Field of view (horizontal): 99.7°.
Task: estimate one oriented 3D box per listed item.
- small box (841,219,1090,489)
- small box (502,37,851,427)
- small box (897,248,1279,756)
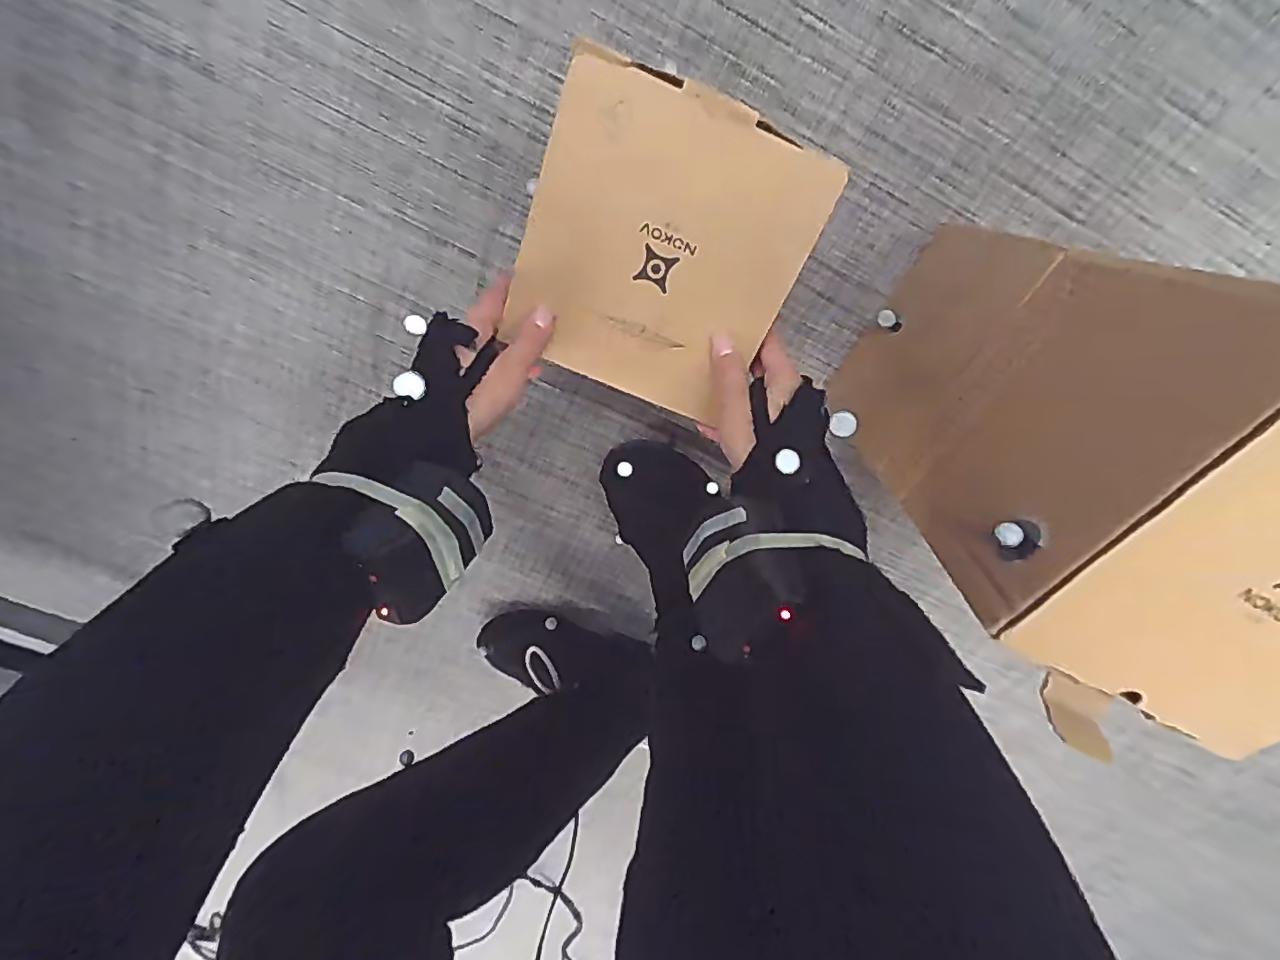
[{"bbox_3d":[0.285,-0.080,0.430,0.168,0.176,0.179,25,120,-10],"label":"small box"},{"bbox_3d":[0.017,-0.172,0.398,0.168,0.176,0.179,20,120,-7],"label":"small box"},{"bbox_3d":[0.277,0.000,0.288,0.168,0.176,0.179,26,118,-11],"label":"small box"}]
